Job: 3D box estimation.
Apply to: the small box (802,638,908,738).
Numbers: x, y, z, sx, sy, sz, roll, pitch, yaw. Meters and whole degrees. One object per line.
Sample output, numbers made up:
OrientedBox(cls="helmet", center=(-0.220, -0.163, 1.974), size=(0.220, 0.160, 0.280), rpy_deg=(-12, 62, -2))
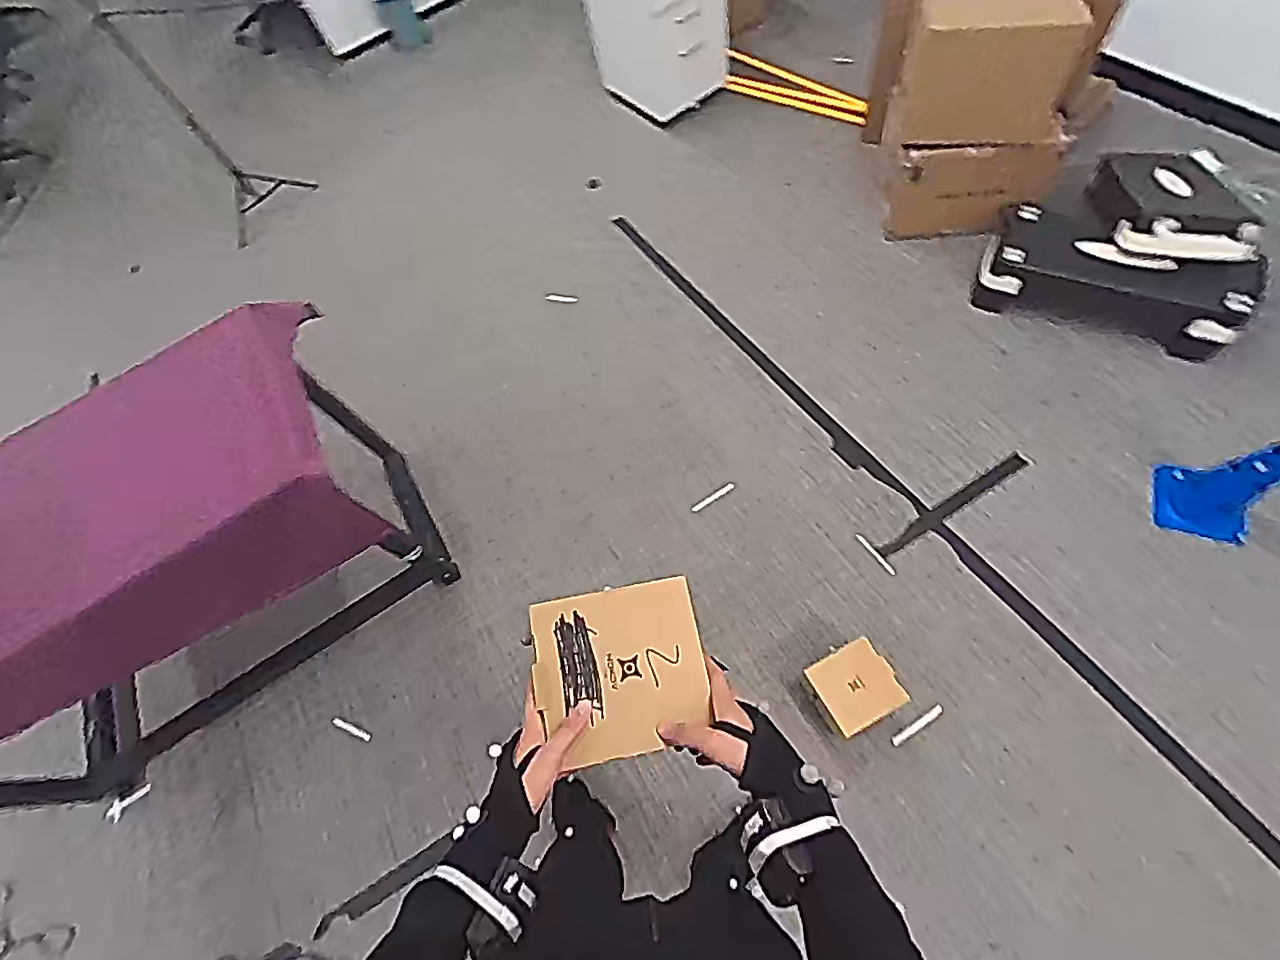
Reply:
OrientedBox(cls="small box", center=(0.513, 0.515, 1.324), size=(0.179, 0.176, 0.168), rpy_deg=(-28, 62, -4))
